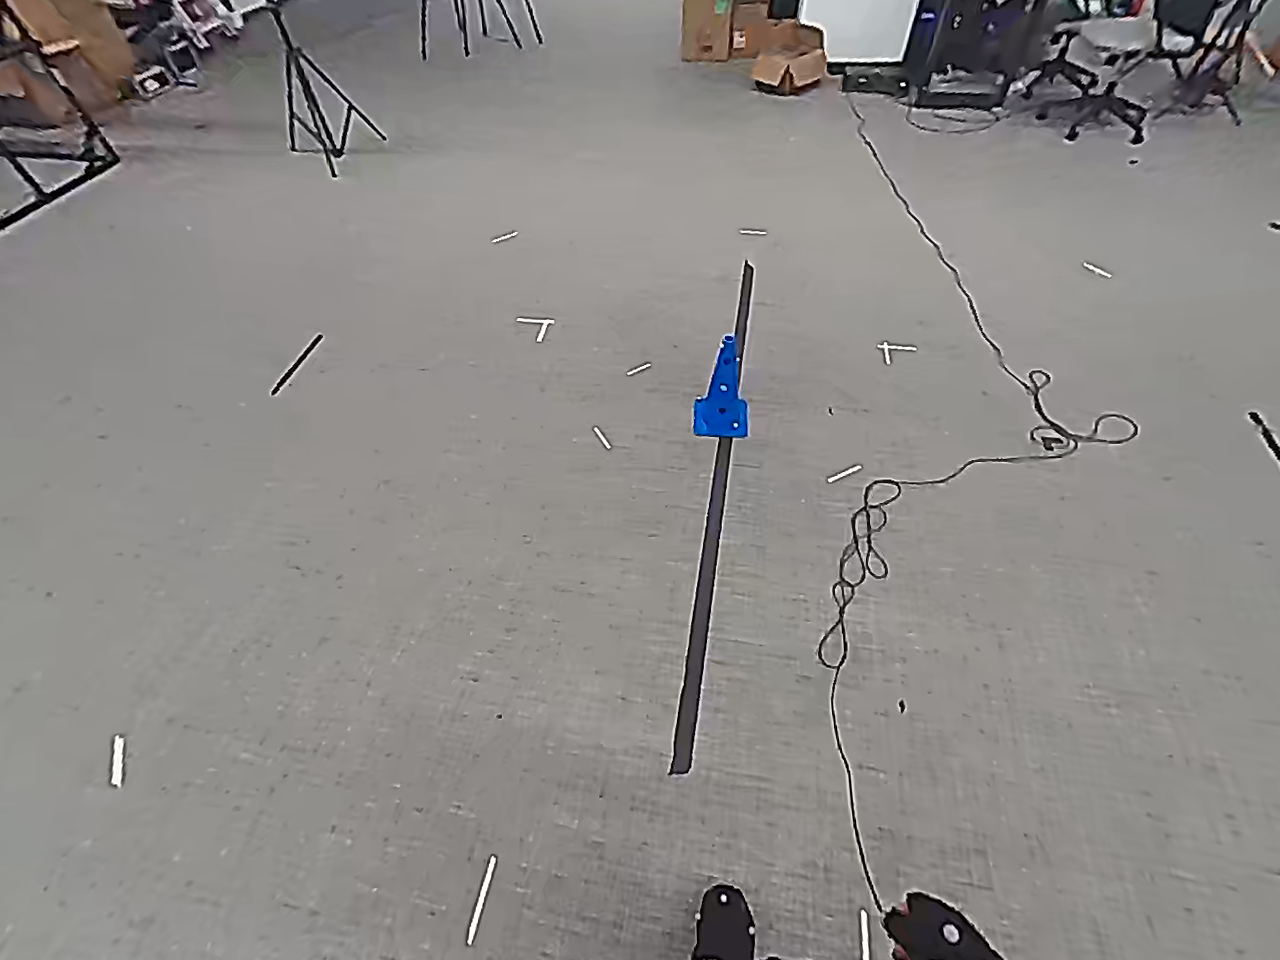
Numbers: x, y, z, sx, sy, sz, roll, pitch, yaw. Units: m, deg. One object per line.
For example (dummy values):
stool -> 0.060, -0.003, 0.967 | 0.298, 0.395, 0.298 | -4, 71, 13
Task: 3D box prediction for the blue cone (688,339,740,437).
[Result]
blue cone -> 0.270, -0.333, 1.903 | 0.192, 0.380, 0.193 | 4, 51, 7
